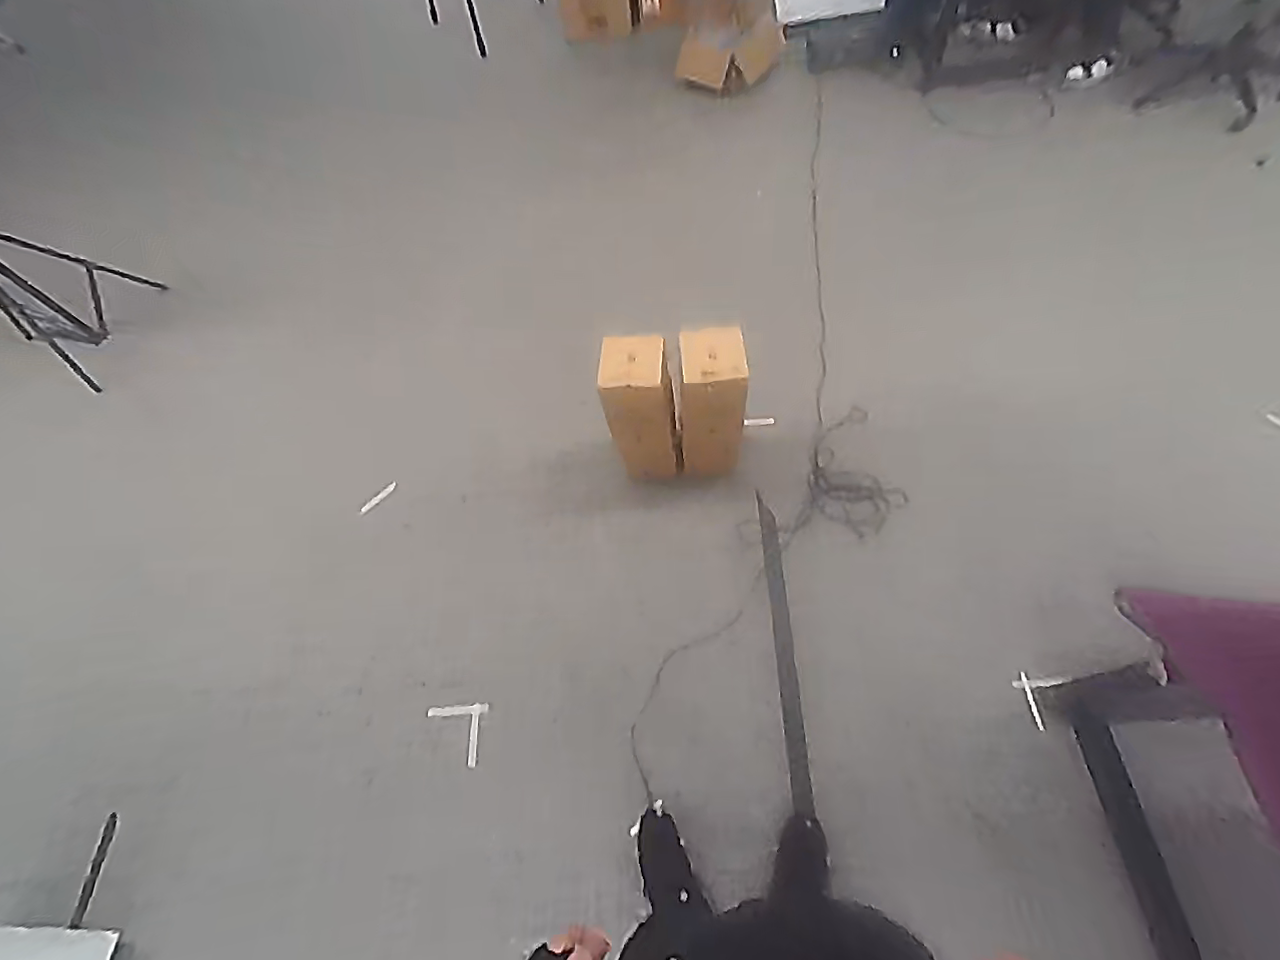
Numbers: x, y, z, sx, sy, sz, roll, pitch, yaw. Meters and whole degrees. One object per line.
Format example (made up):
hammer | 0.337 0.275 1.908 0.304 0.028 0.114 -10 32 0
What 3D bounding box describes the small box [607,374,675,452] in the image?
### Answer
small box | 0.011 -0.193 1.600 0.179 0.176 0.168 -1 62 10
